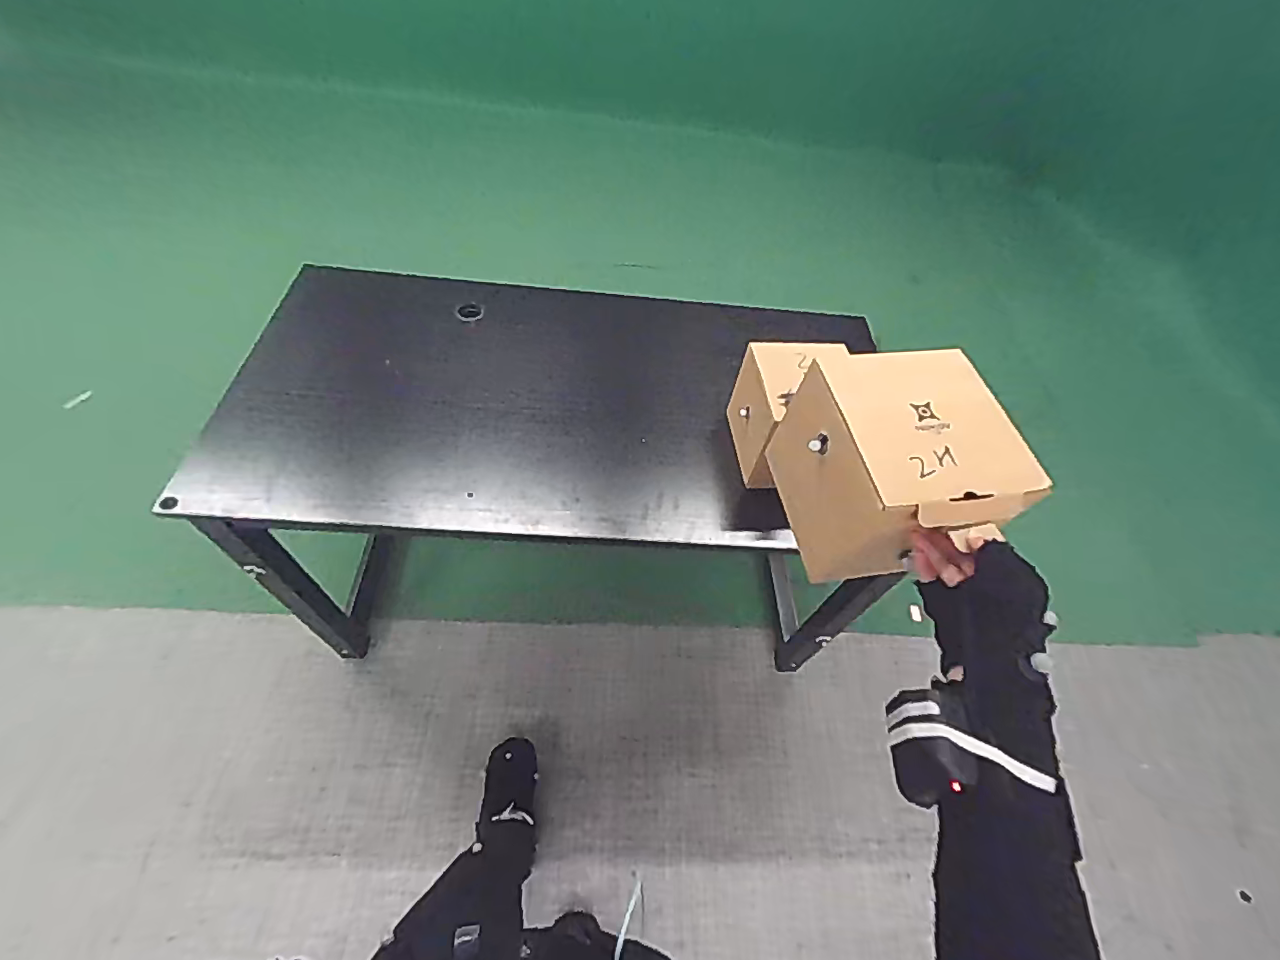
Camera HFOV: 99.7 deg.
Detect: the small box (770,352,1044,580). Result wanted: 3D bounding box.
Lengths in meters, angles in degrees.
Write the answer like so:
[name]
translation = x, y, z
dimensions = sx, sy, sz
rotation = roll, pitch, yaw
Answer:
[small box]
translation = 0.256, -0.012, 0.574
dimensions = 0.168, 0.176, 0.179
rotation = -5, 59, -10
